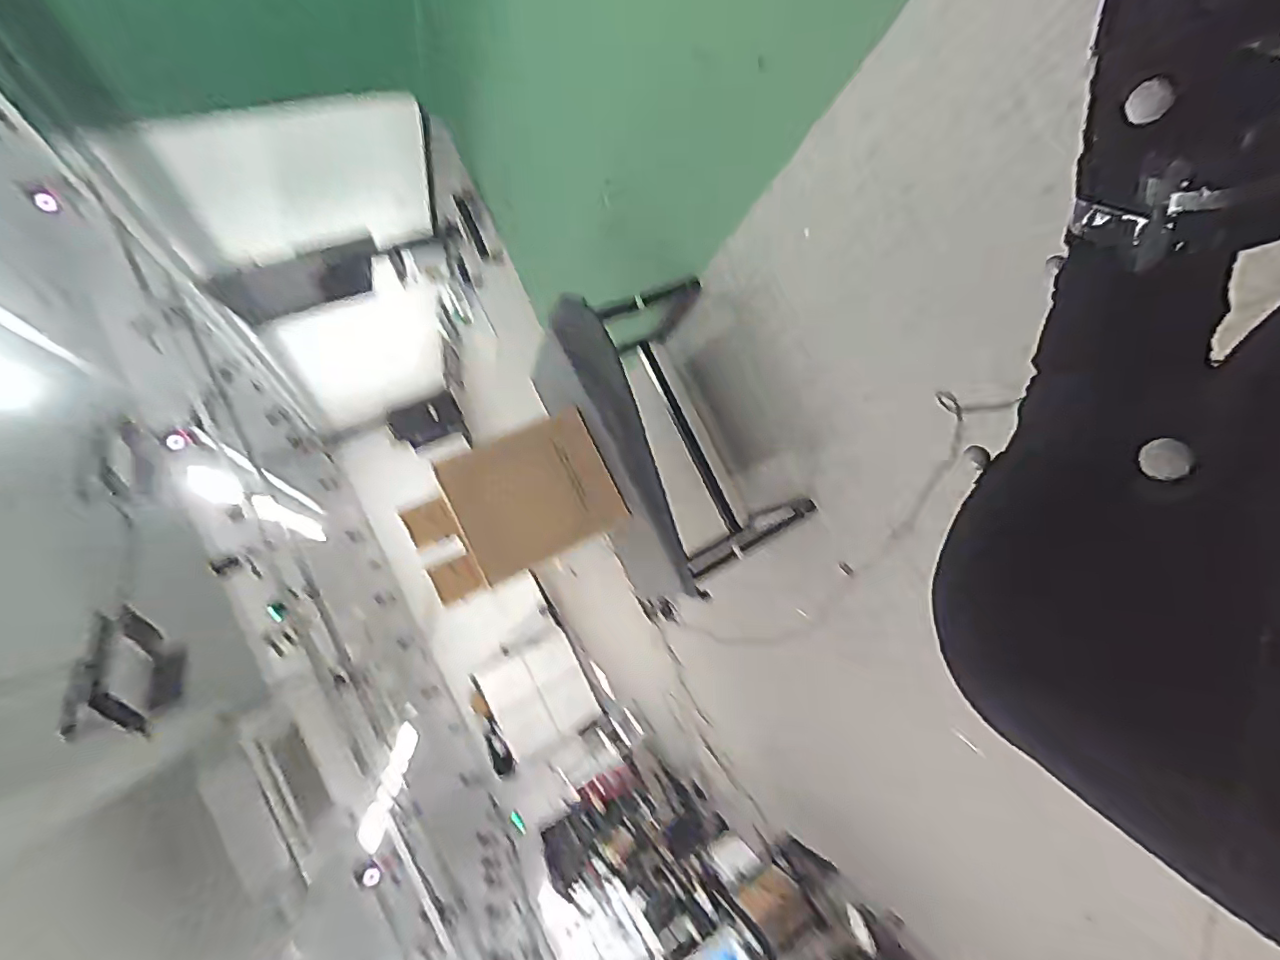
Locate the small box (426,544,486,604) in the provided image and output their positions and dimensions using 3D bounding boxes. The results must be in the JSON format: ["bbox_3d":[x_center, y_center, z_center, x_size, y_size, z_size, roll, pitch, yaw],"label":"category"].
[{"bbox_3d":[-0.699,0.360,2.069,0.168,0.176,0.179,62,158,7],"label":"small box"}]

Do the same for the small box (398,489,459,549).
[{"bbox_3d":[-0.817,0.150,2.100,0.168,0.176,0.179,63,157,4],"label":"small box"}]
